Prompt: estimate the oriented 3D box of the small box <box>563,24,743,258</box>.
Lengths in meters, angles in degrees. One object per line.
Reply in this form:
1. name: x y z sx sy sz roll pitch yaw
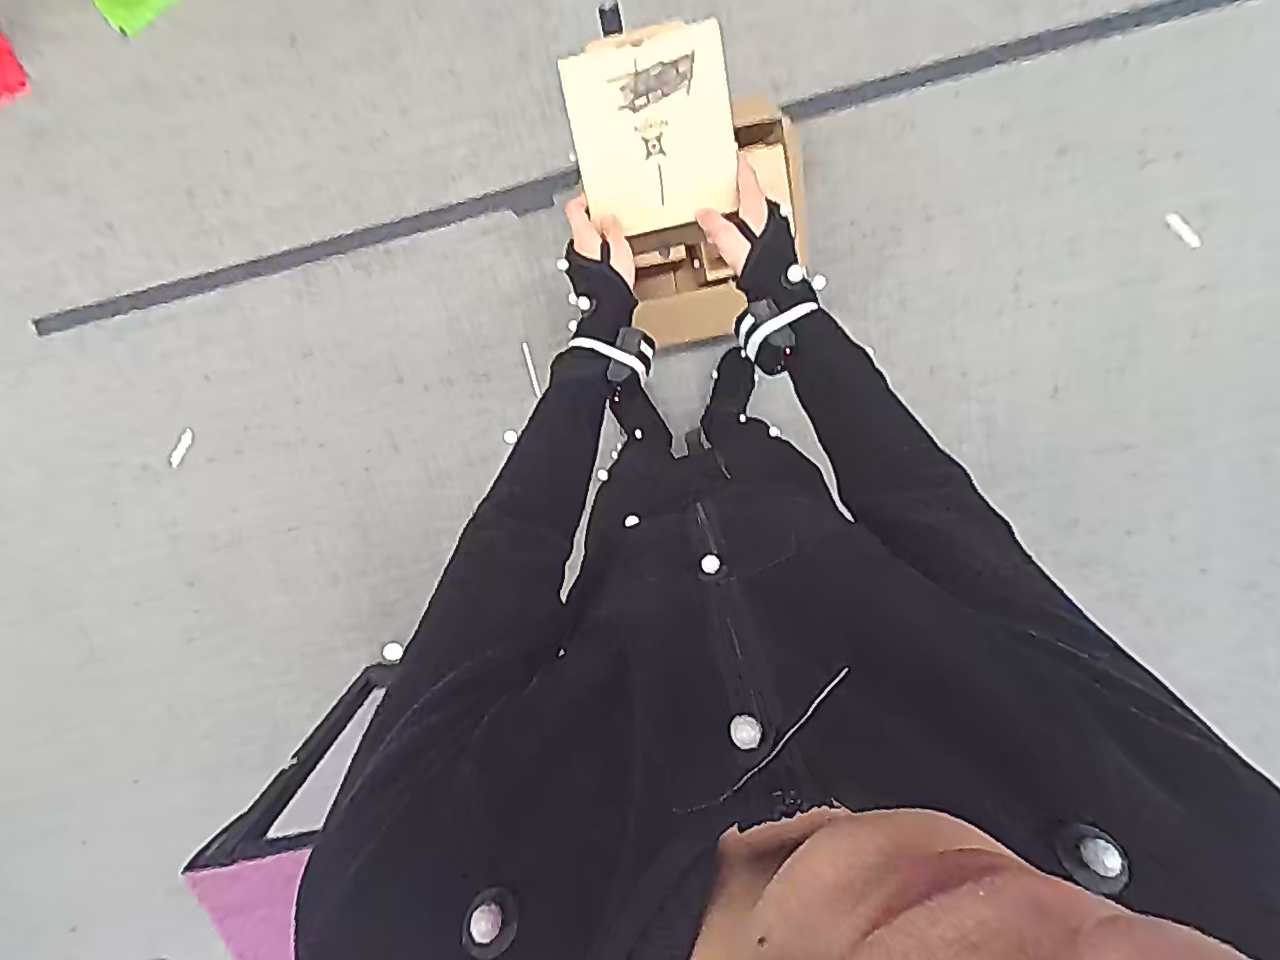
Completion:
1. small box: 0.017 -0.379 0.639 0.168 0.176 0.179 -10 105 5
